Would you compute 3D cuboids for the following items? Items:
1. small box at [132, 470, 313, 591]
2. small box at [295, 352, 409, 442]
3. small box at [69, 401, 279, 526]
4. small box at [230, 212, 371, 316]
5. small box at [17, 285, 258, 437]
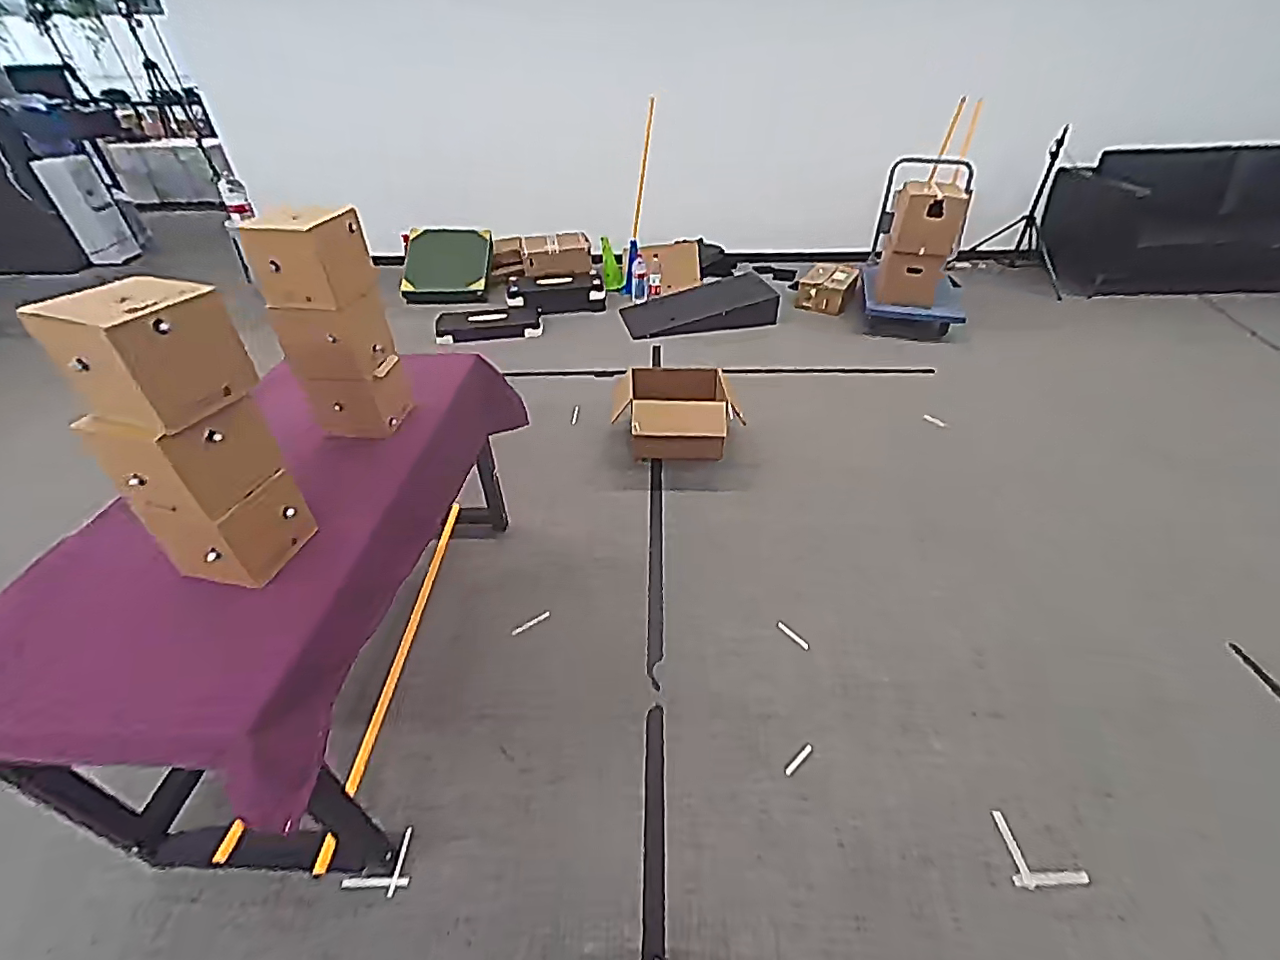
[{"bbox_3d":[-0.759,0.086,1.009,0.179,0.176,0.168,7,39,10],"label":"small box"},{"bbox_3d":[-0.713,-0.209,1.365,0.179,0.176,0.168,1,39,4],"label":"small box"},{"bbox_3d":[-0.762,-0.045,0.911,0.168,0.176,0.179,9,39,10],"label":"small box"},{"bbox_3d":[-0.713,-0.465,1.163,0.168,0.176,0.179,4,39,6],"label":"small box"},{"bbox_3d":[-0.742,-0.182,0.820,0.179,0.176,0.168,11,40,15],"label":"small box"}]
